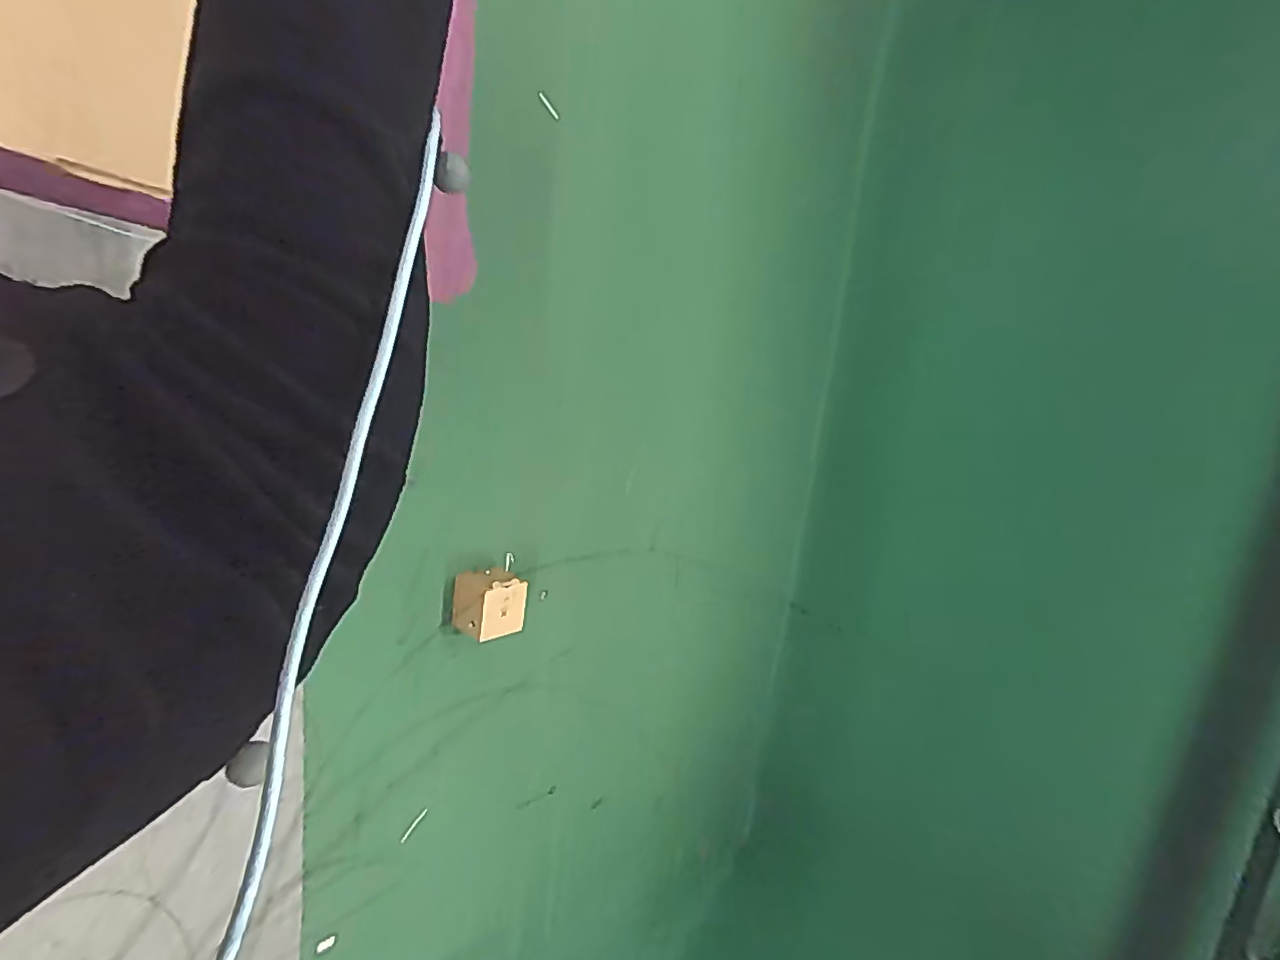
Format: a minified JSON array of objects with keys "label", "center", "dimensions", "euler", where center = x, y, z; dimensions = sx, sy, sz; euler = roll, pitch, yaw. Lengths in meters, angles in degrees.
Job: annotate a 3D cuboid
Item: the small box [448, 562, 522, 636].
[{"label":"small box","center":[-0.517,0.388,1.793],"dimensions":[0.168,0.176,0.179],"euler":[-3,104,-50]}]
